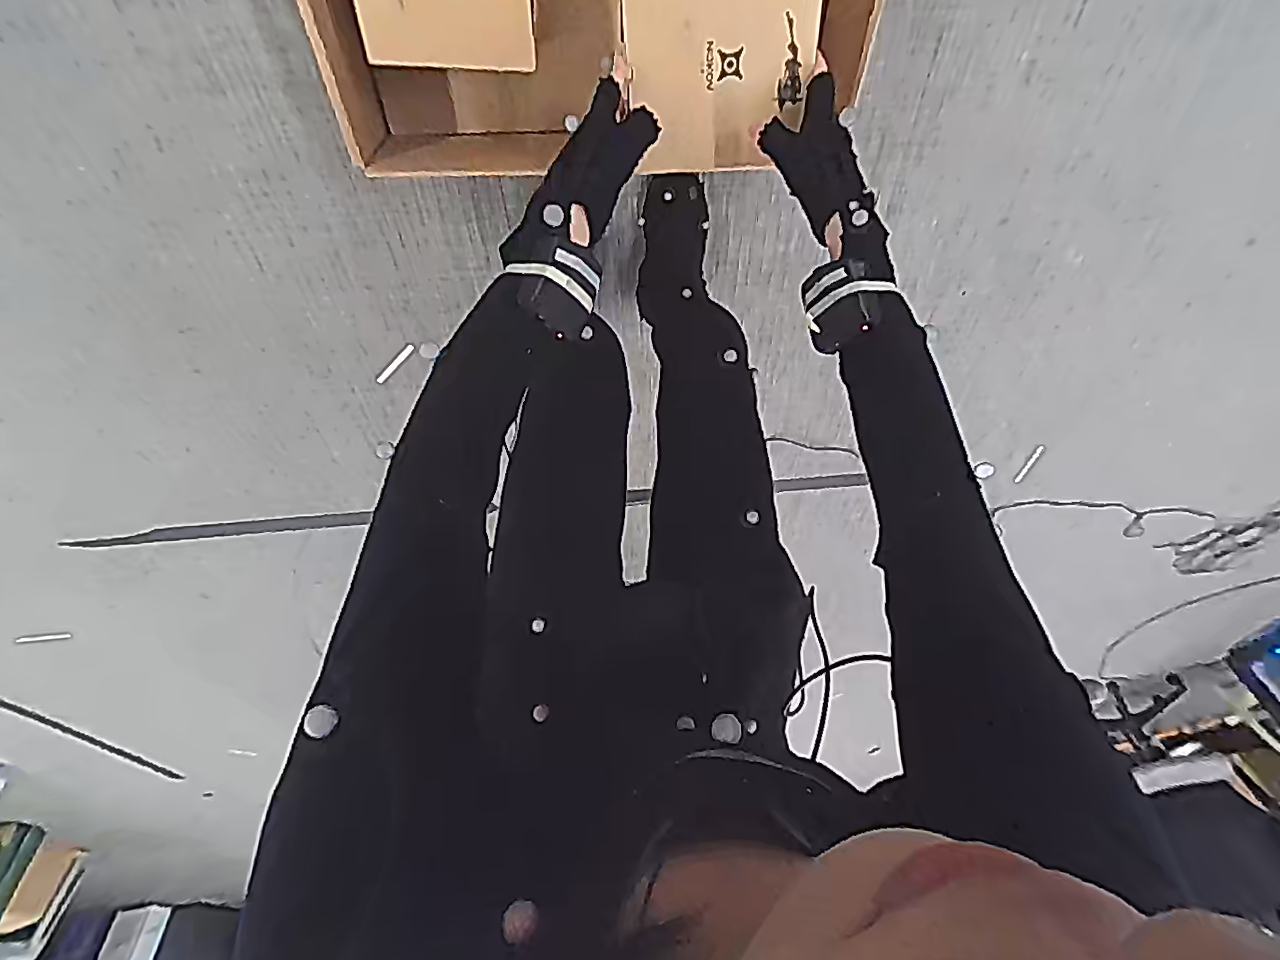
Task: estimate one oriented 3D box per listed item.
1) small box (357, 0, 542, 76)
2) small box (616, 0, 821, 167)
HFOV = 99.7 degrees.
[{"bbox_3d":[-0.198,-0.548,0.570,0.179,0.176,0.168,-2,136,-7],"label":"small box"},{"bbox_3d":[0.067,-0.434,0.544,0.179,0.176,0.168,-6,134,1],"label":"small box"}]
